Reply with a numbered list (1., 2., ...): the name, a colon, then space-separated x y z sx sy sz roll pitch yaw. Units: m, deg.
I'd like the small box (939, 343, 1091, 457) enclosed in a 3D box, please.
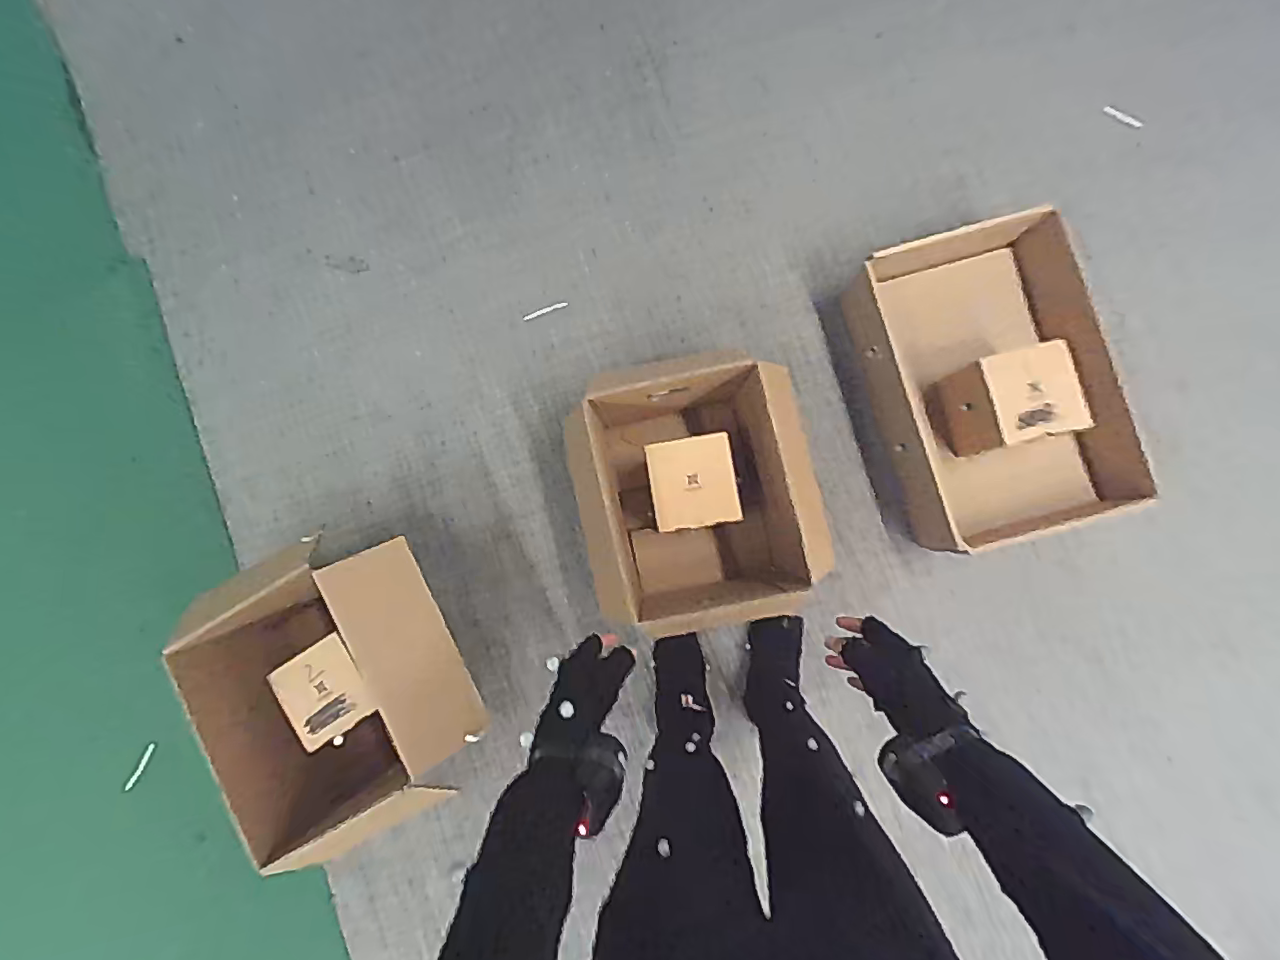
1. small box: 0.740 -0.149 1.087 0.168 0.176 0.179 -13 83 1
